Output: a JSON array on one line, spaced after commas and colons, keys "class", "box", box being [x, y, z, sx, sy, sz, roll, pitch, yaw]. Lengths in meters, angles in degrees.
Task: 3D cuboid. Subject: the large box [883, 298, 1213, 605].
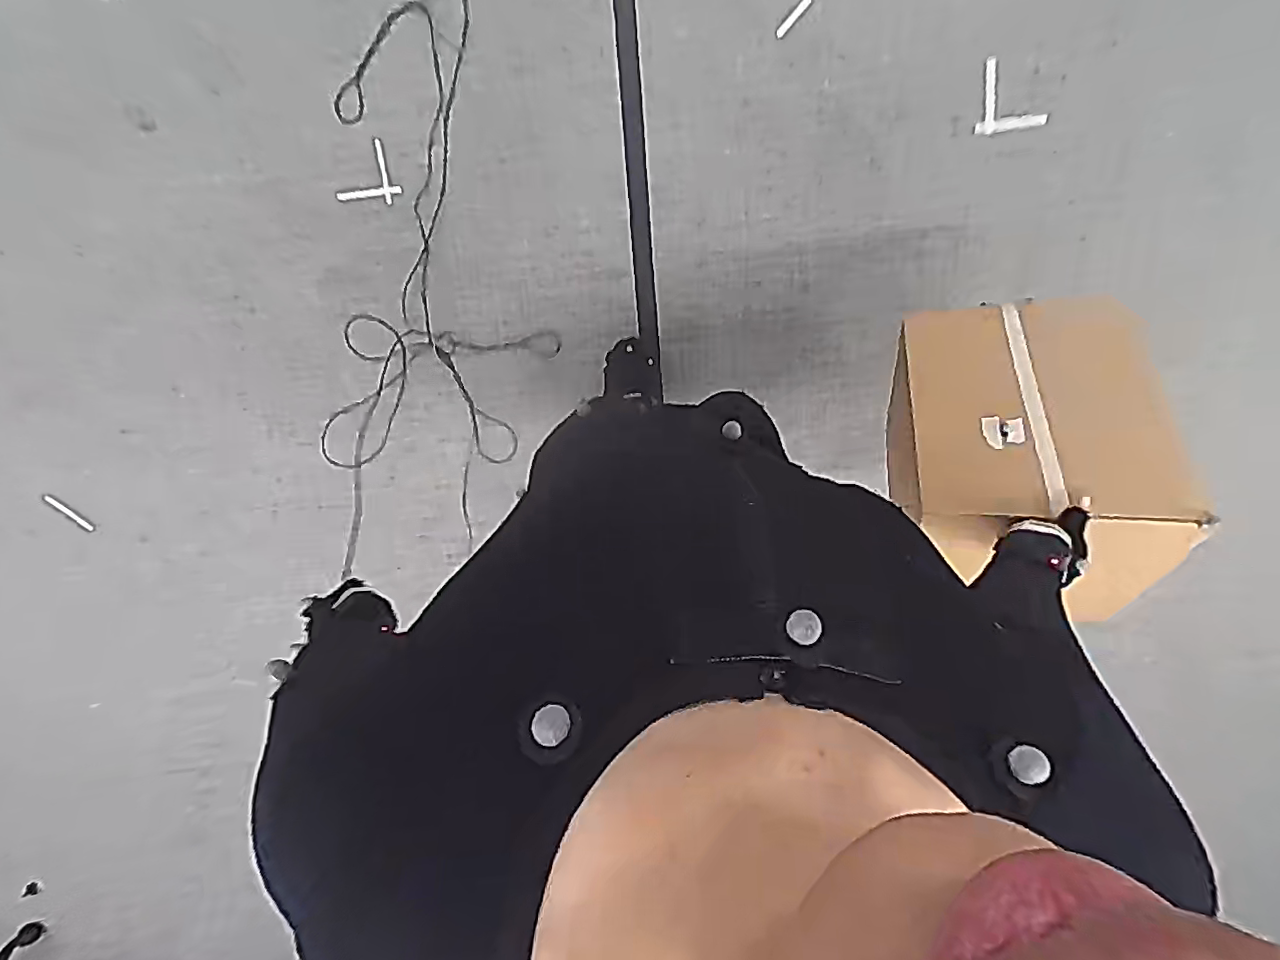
[{"class": "large box", "box": [0.607, -0.041, 0.910, 0.320, 0.408, 0.320, 0, 148, 18]}]
